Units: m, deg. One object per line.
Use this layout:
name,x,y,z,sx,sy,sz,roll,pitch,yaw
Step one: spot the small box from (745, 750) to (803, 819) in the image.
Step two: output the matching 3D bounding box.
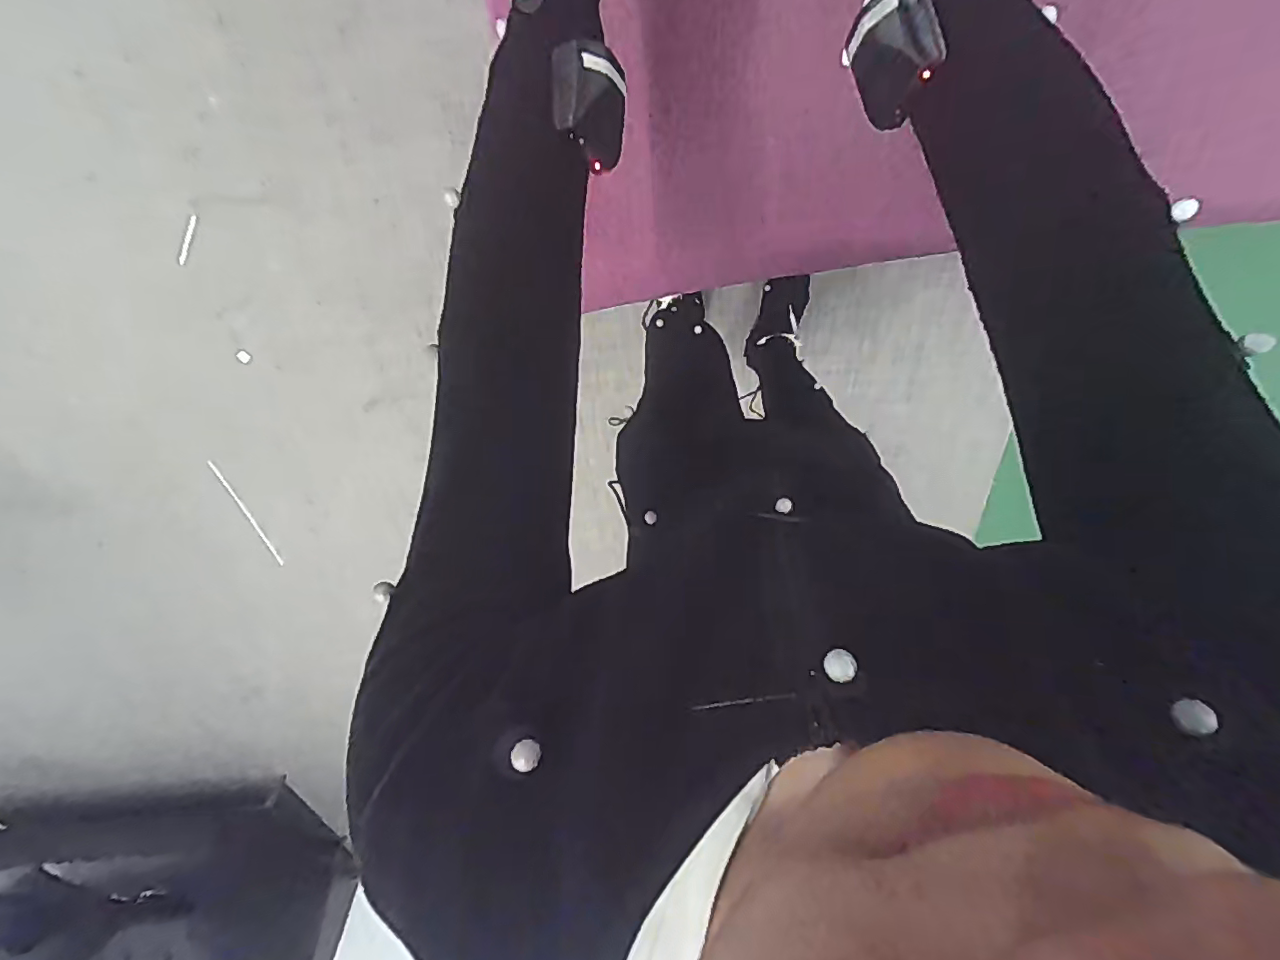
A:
small box,0.482,1.107,1.966,0.168,0.176,0.179,-2,127,1

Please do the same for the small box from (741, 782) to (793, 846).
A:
small box,0.492,1.309,2.121,0.168,0.176,0.179,-3,124,2
